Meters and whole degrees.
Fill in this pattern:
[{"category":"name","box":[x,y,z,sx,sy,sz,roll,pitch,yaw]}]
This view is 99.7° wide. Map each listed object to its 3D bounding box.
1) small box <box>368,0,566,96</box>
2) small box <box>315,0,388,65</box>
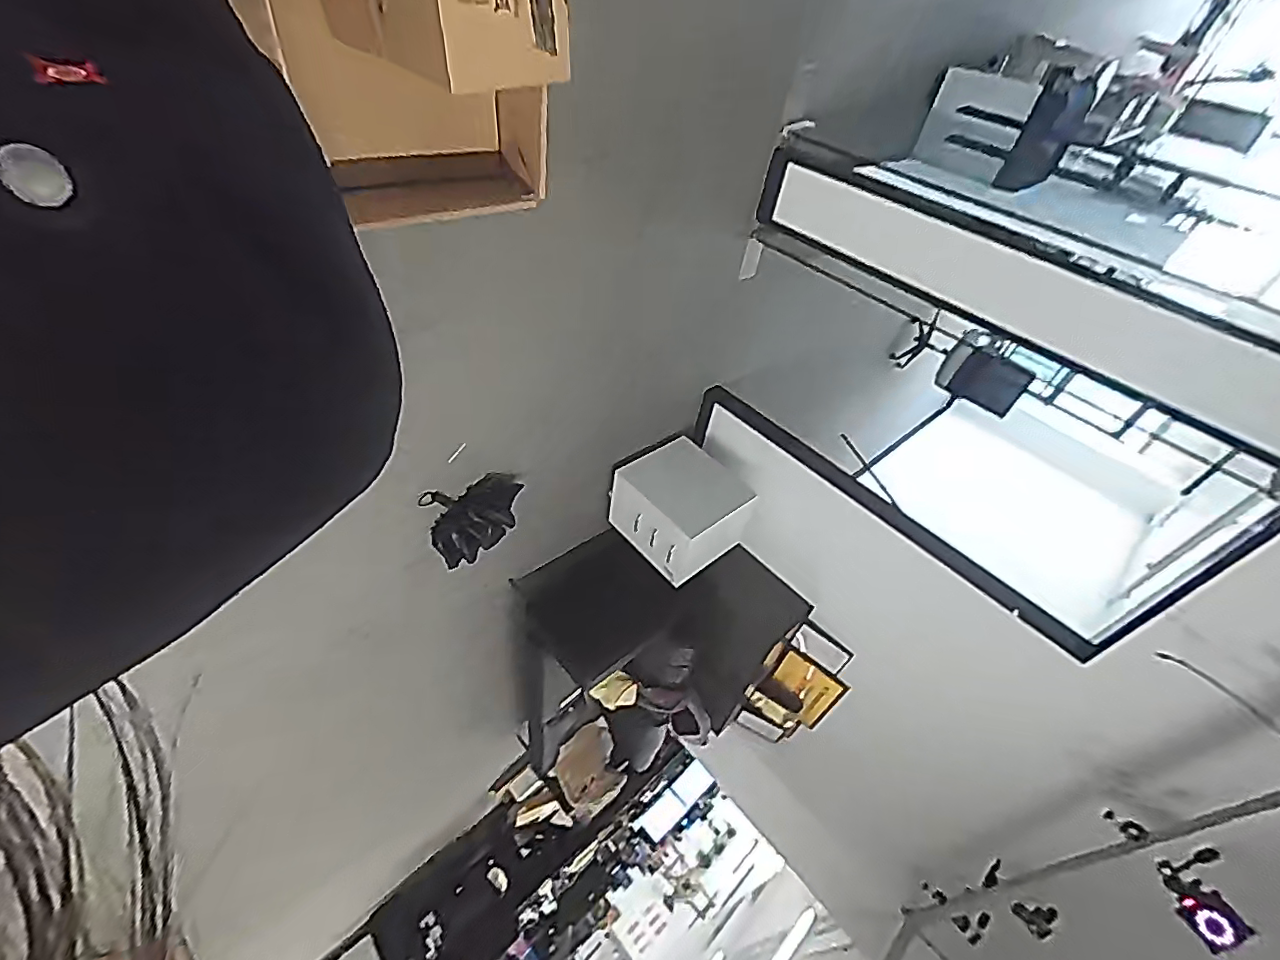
[{"category":"small box","box":[-0.208,-0.582,0.643,0.179,0.176,0.168,-32,147,-30]},{"category":"small box","box":[-0.322,-0.676,0.716,0.179,0.176,0.168,-34,148,-30]}]
